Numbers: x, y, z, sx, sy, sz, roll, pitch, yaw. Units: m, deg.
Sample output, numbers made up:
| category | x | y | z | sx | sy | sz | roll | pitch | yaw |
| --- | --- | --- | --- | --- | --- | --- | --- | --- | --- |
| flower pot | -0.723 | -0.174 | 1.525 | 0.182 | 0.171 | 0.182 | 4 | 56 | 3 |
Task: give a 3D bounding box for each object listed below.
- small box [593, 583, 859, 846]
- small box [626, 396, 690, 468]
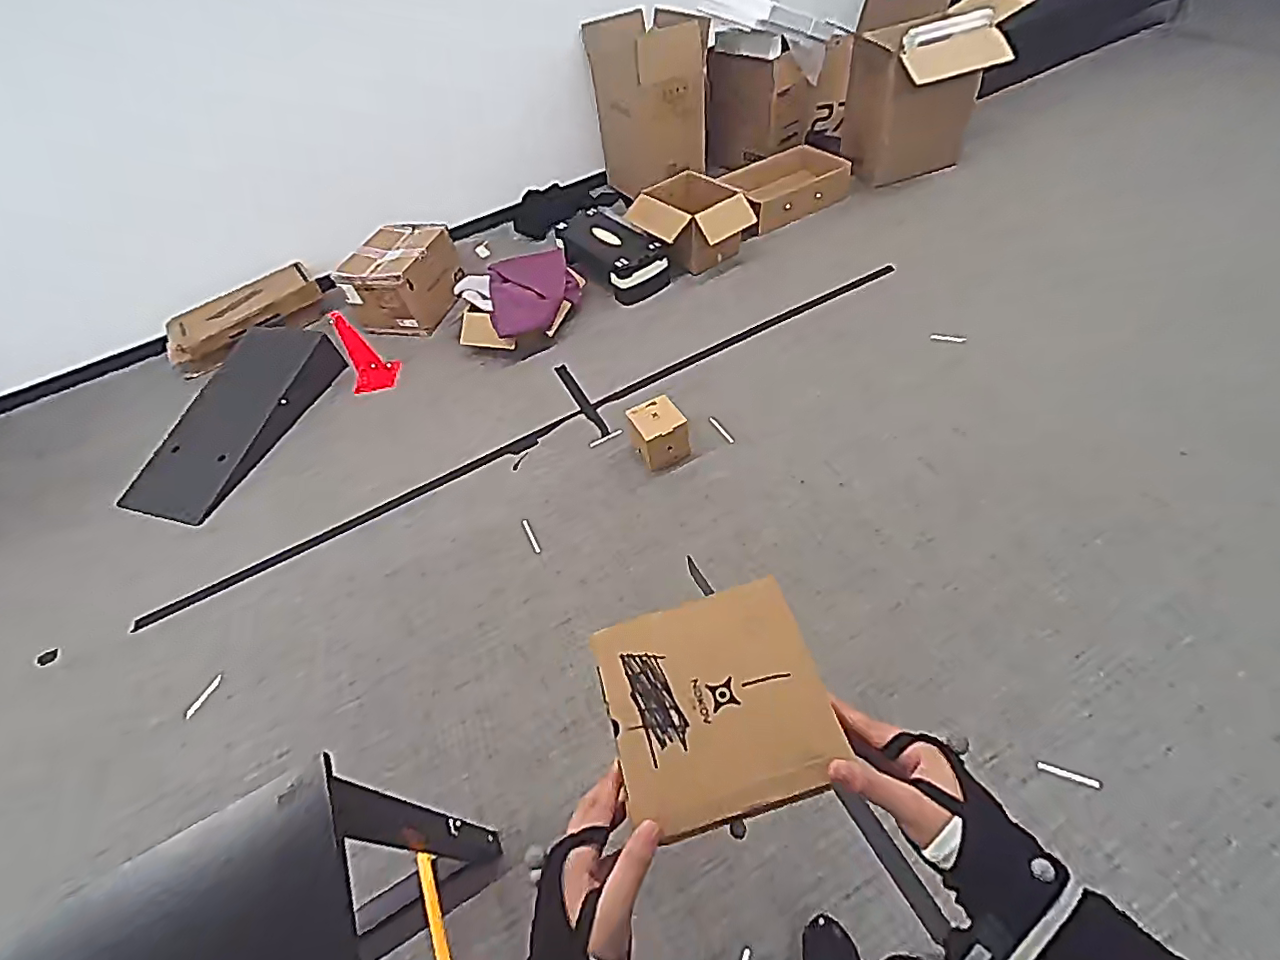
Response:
| category | x | y | z | sx | sy | sz | roll | pitch | yaw |
| --- | --- | --- | --- | --- | --- | --- | --- | --- | --- |
| small box | 0.071 | 0.223 | 0.502 | 0.179 | 0.176 | 0.168 | -17 | 56 | -2 |
| small box | 0.069 | -0.166 | 1.960 | 0.168 | 0.176 | 0.179 | -25 | 52 | -10 |
